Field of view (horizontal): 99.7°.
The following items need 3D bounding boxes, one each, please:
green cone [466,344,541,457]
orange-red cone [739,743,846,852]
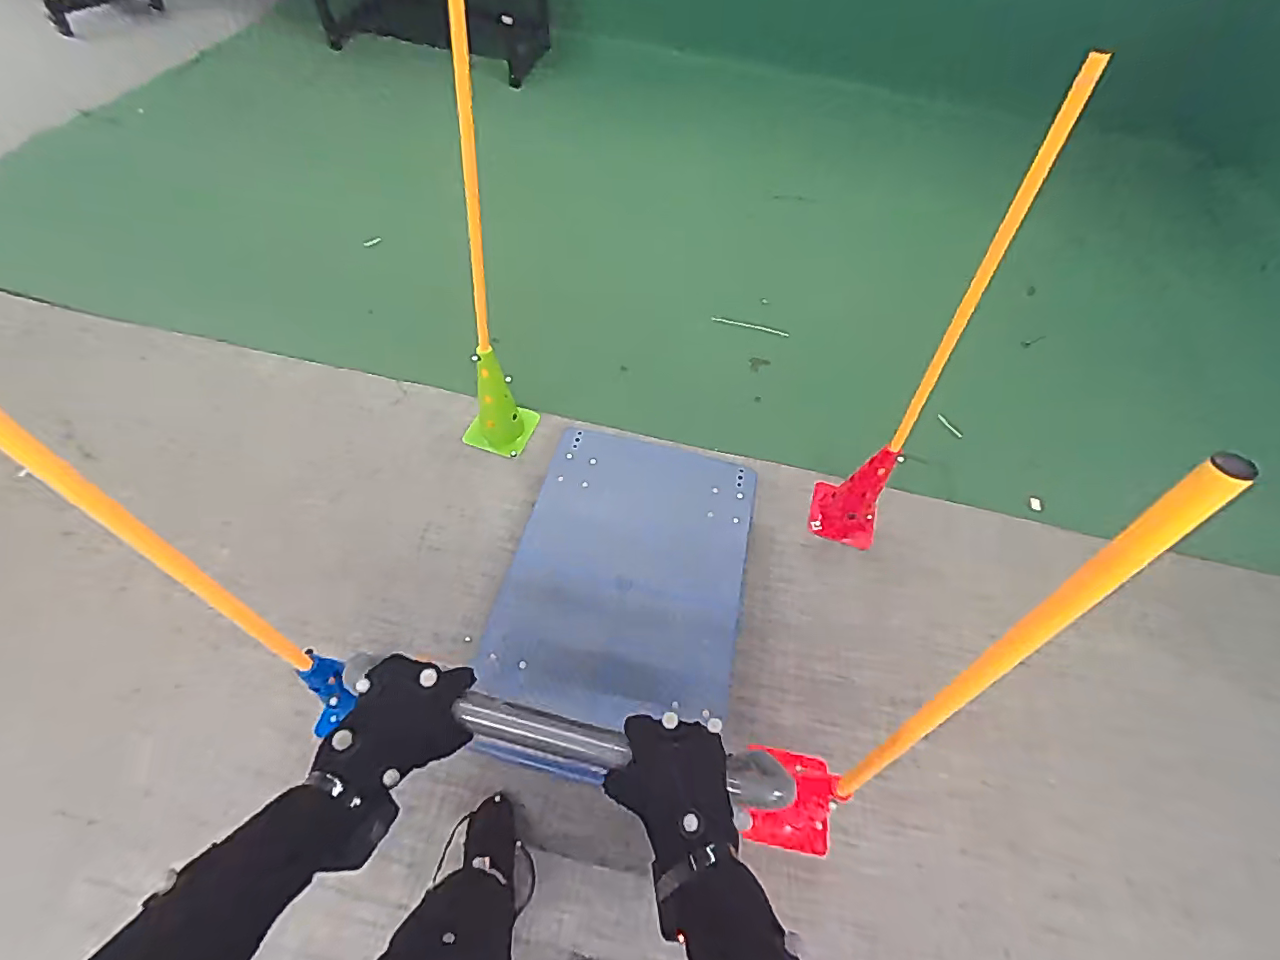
[{"bbox_3d":[-0.442,-0.269,1.658,0.202,0.368,0.200,16,56,7],"label":"green cone"},{"bbox_3d":[0.346,0.648,1.132,0.199,0.360,0.198,12,56,5],"label":"orange-red cone"}]
